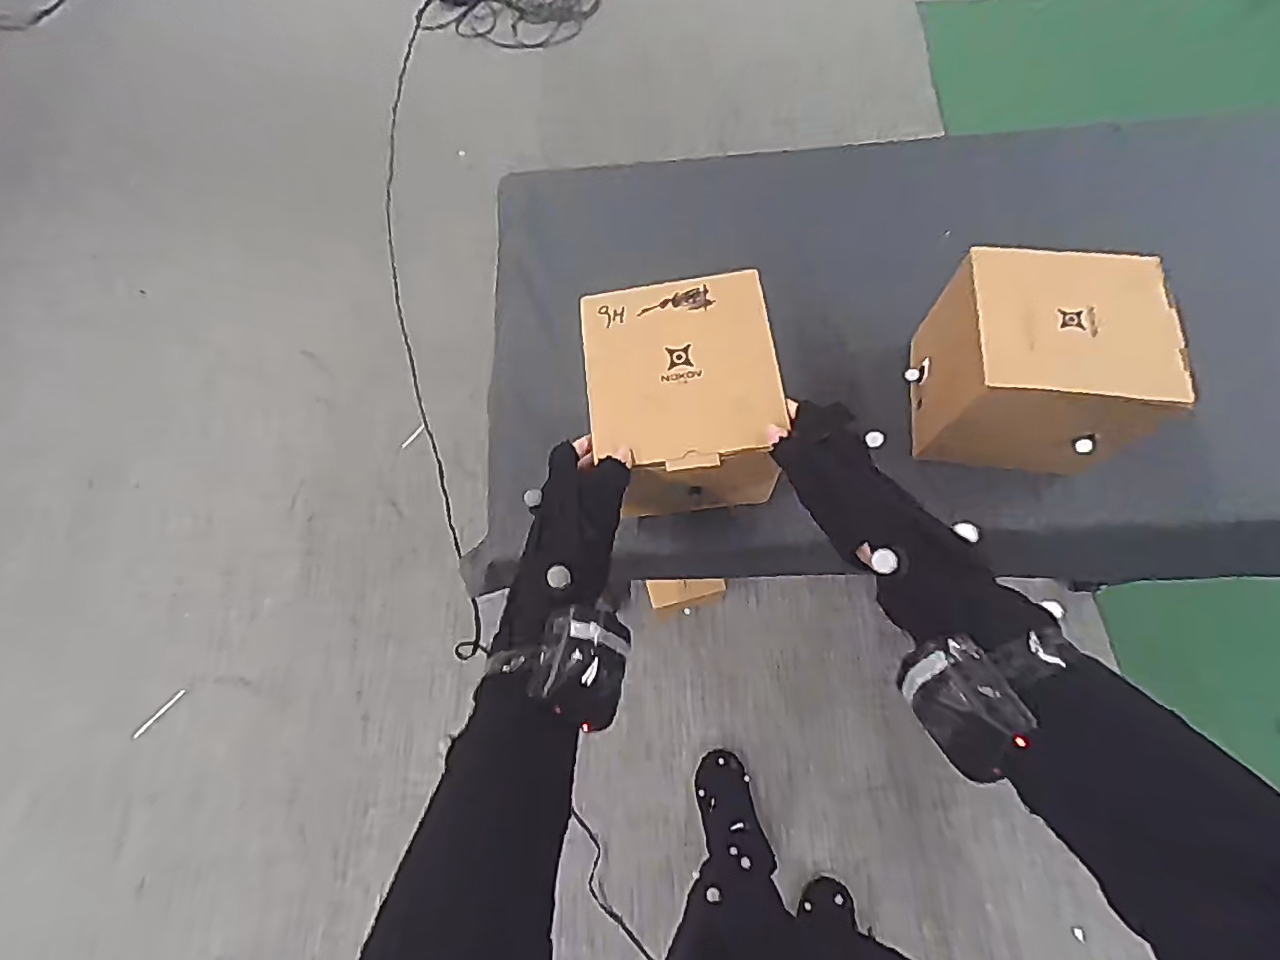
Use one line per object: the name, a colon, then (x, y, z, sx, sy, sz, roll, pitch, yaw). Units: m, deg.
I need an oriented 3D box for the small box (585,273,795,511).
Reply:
small box: (0.048, -0.071, 0.543, 0.168, 0.176, 0.179, -8, 73, 4)

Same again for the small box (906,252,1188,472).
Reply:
small box: (0.414, -0.118, 0.587, 0.179, 0.176, 0.168, 6, 68, 6)
